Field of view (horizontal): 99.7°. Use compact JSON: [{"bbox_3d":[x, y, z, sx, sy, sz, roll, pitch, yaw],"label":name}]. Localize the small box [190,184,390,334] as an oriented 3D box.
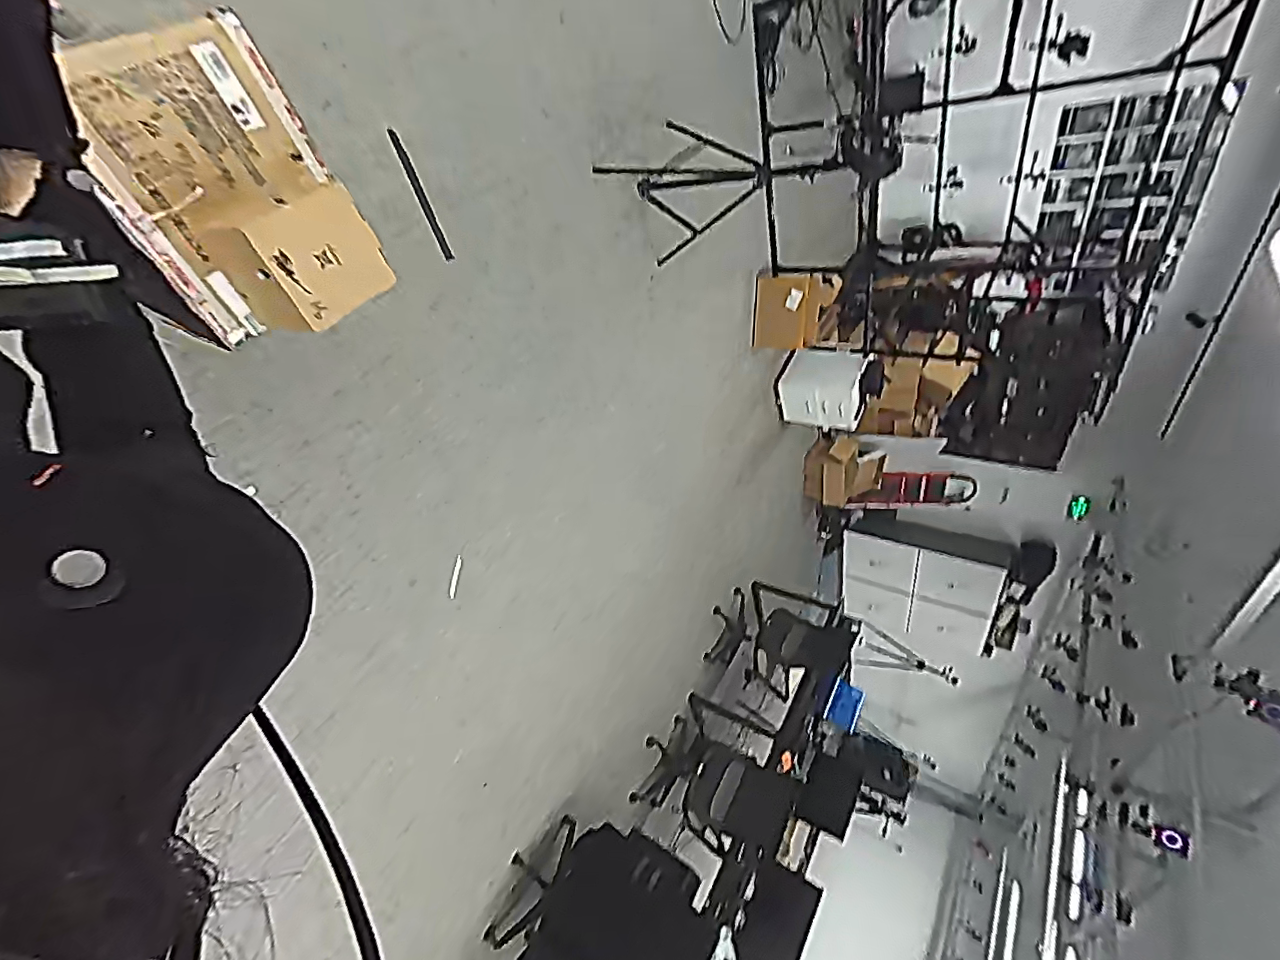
[{"bbox_3d":[-0.554,-0.354,0.865,0.179,0.176,0.168,-54,143,-34],"label":"small box"}]
